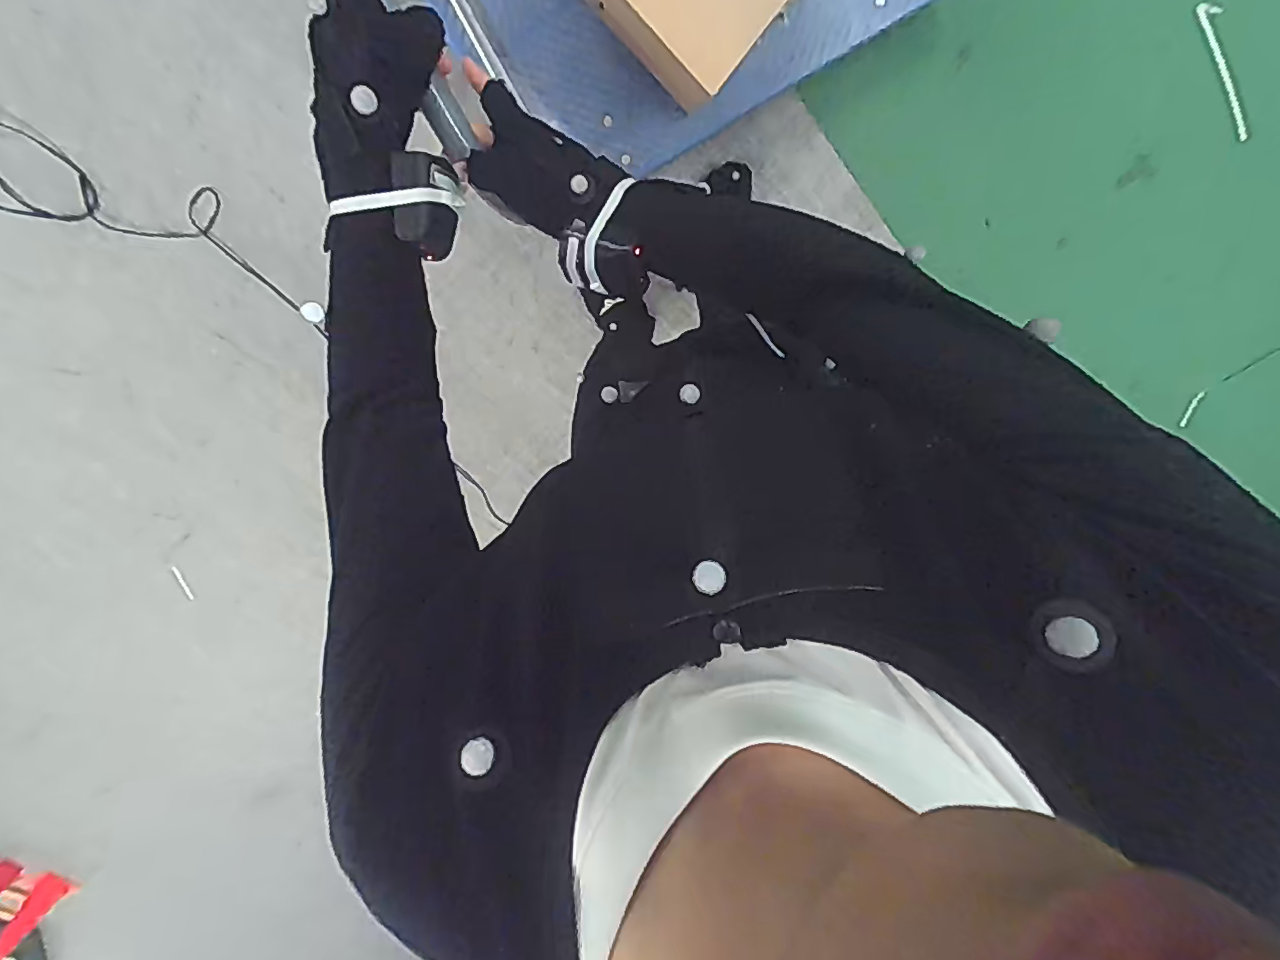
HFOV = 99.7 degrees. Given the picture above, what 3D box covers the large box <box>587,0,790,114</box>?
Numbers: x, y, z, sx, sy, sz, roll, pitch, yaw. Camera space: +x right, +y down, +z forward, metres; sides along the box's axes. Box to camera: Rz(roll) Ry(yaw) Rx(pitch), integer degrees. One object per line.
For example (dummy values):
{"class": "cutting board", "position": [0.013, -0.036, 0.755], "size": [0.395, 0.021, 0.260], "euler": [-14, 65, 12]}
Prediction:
{"class": "large box", "position": [0.050, -0.810, 0.755], "size": [0.408, 0.320, 0.320], "euler": [38, 112, -19]}
